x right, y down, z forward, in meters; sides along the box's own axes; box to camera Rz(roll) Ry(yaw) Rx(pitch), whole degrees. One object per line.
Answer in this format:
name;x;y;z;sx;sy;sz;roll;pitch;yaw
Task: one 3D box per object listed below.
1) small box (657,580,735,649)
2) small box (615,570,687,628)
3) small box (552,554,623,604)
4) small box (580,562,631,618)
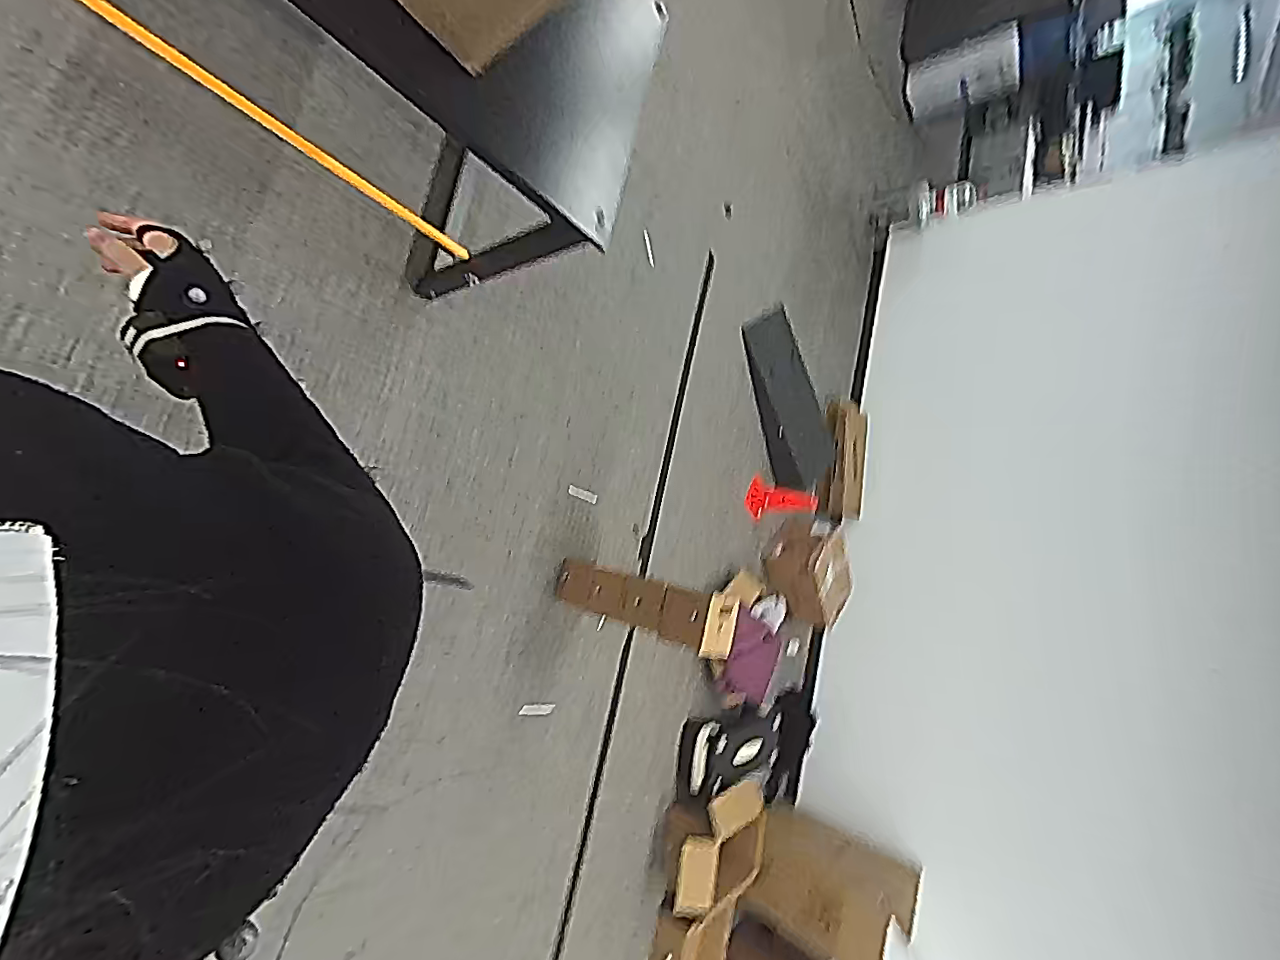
small box;0.172;0.417;1.685;0.168;0.176;0.179;23;76;-47
small box;0.043;0.398;1.788;0.179;0.176;0.168;25;74;-46
small box;-0.195;0.377;2.013;0.179;0.176;0.168;24;75;-46
small box;-0.078;0.391;1.897;0.179;0.176;0.168;25;74;-47
